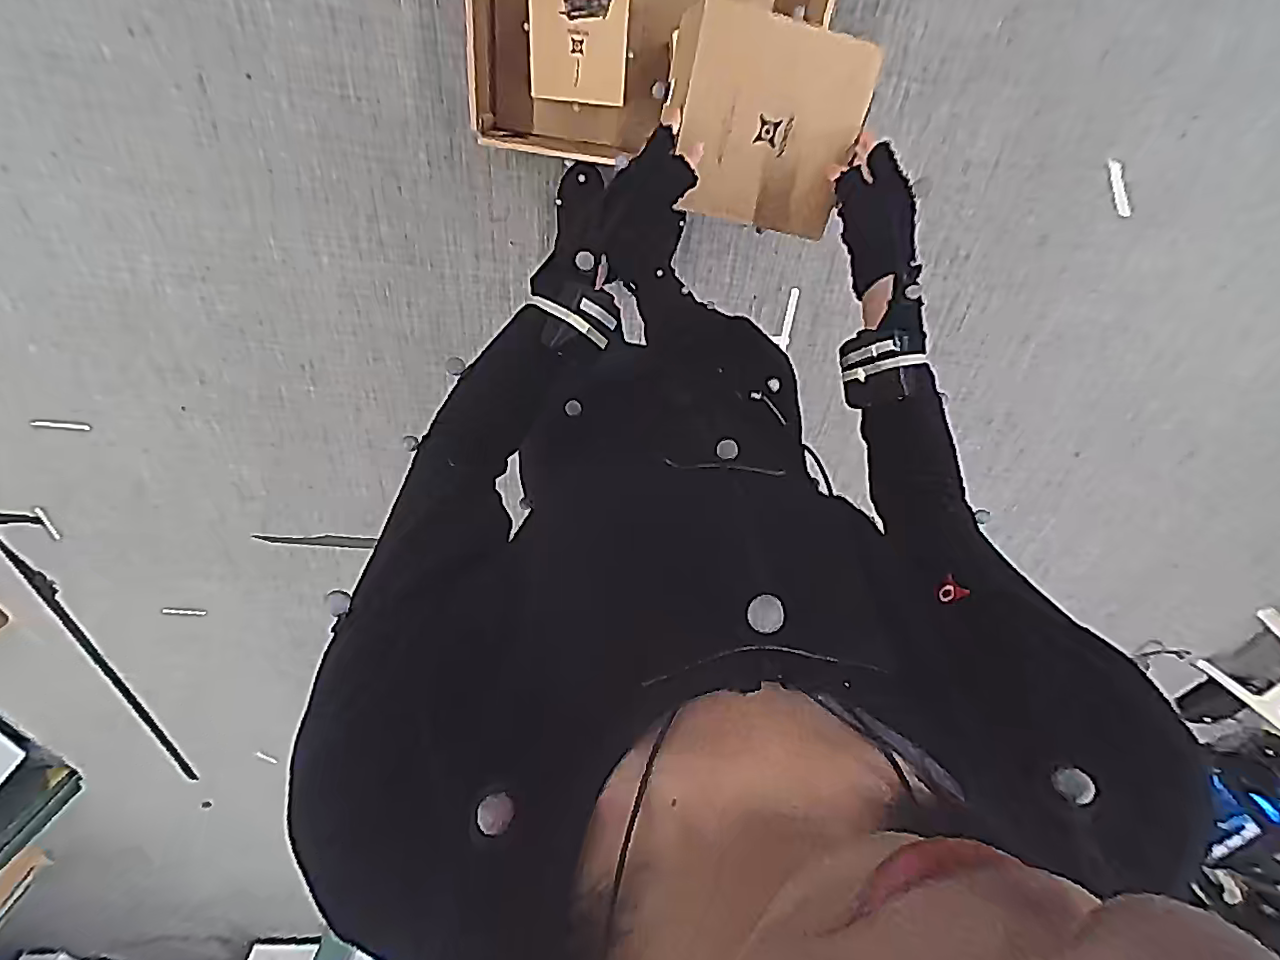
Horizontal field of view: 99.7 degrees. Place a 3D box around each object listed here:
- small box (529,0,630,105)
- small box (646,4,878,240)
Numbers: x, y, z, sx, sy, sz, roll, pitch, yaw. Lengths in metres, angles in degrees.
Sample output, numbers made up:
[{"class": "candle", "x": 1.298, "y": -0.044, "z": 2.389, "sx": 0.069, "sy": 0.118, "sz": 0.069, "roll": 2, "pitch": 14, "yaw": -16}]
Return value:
[{"class": "small box", "x": -0.108, "y": -0.790, "z": 0.970, "sx": 0.168, "sy": 0.176, "sz": 0.179, "roll": 3, "pitch": 126, "yaw": -5}, {"class": "small box", "x": 0.112, "y": -0.377, "z": 0.586, "sx": 0.179, "sy": 0.176, "sz": 0.168, "roll": 6, "pitch": 123, "yaw": -10}]
